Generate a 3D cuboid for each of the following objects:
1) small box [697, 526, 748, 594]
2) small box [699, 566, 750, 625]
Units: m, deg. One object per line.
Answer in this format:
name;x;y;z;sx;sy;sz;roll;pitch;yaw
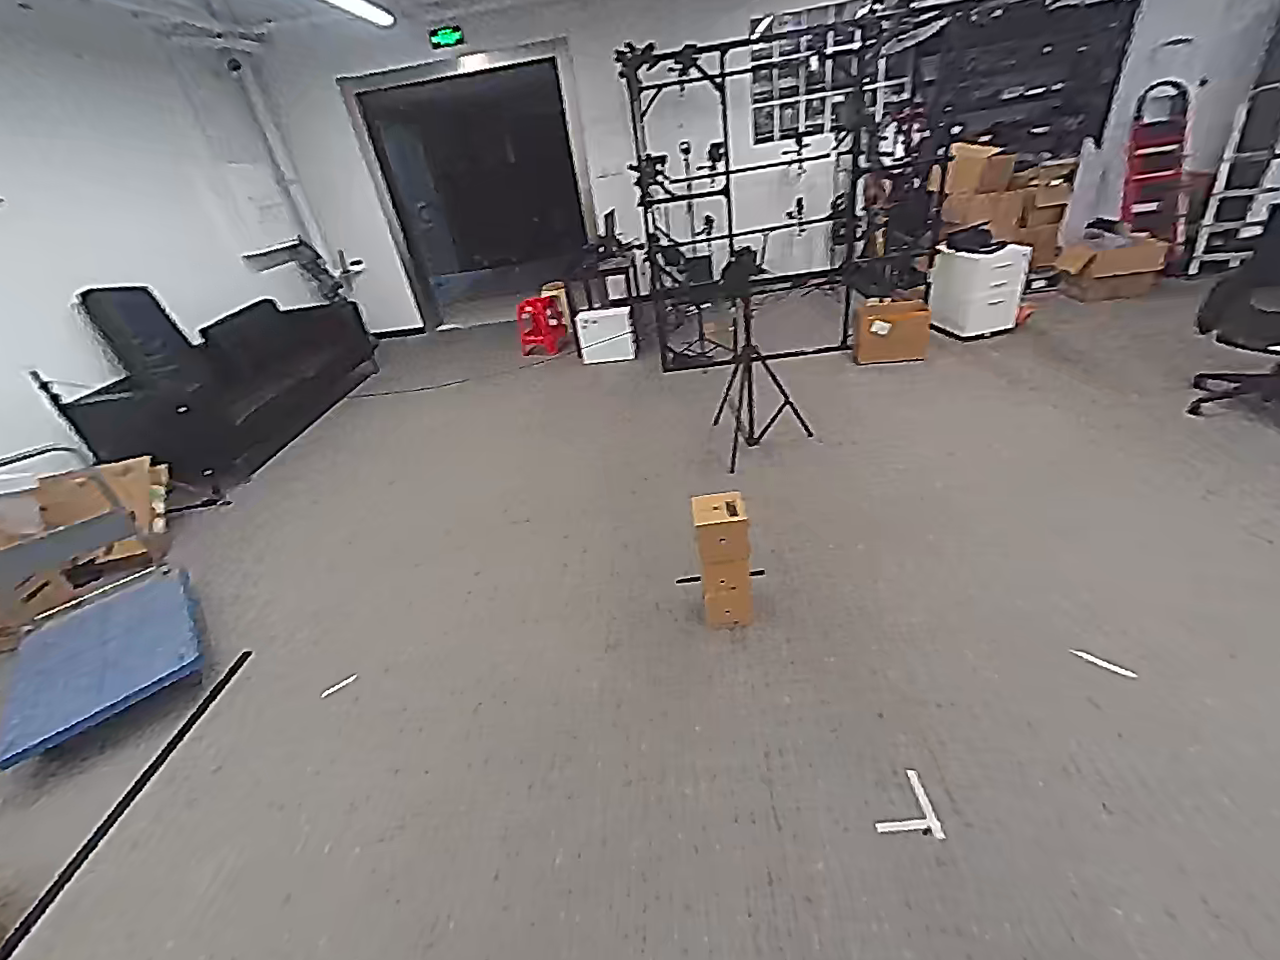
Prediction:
small box;0.298;0.290;1.963;0.168;0.176;0.179;-7;32;6
small box;0.318;0.432;2.040;0.168;0.176;0.179;-7;31;3
